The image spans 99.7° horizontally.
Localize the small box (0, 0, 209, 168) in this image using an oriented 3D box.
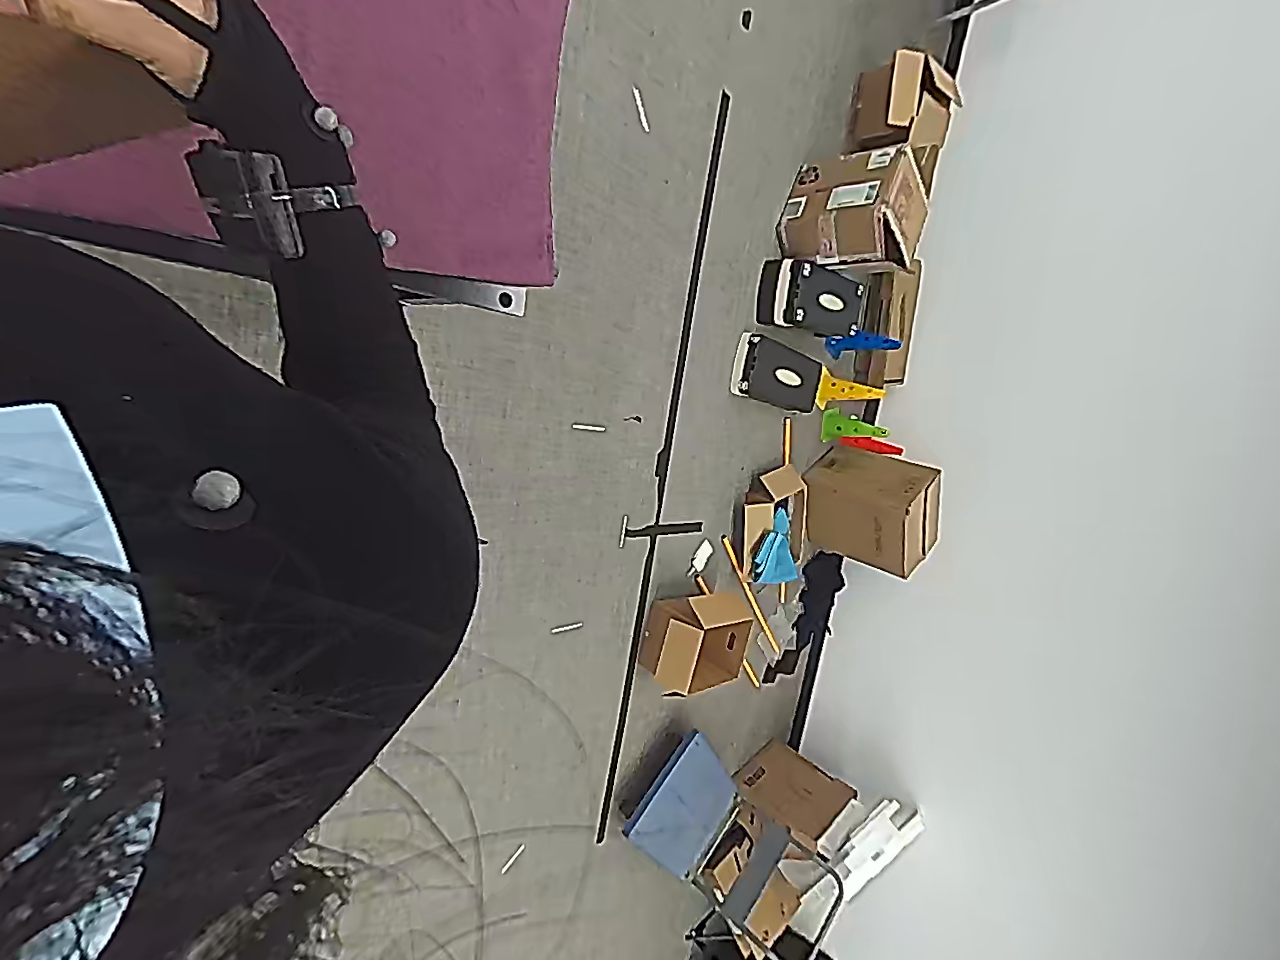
[{"bbox_3d":[-0.376,-0.301,0.282,0.179,0.176,0.168,-21,92,-9],"label":"small box"}]
